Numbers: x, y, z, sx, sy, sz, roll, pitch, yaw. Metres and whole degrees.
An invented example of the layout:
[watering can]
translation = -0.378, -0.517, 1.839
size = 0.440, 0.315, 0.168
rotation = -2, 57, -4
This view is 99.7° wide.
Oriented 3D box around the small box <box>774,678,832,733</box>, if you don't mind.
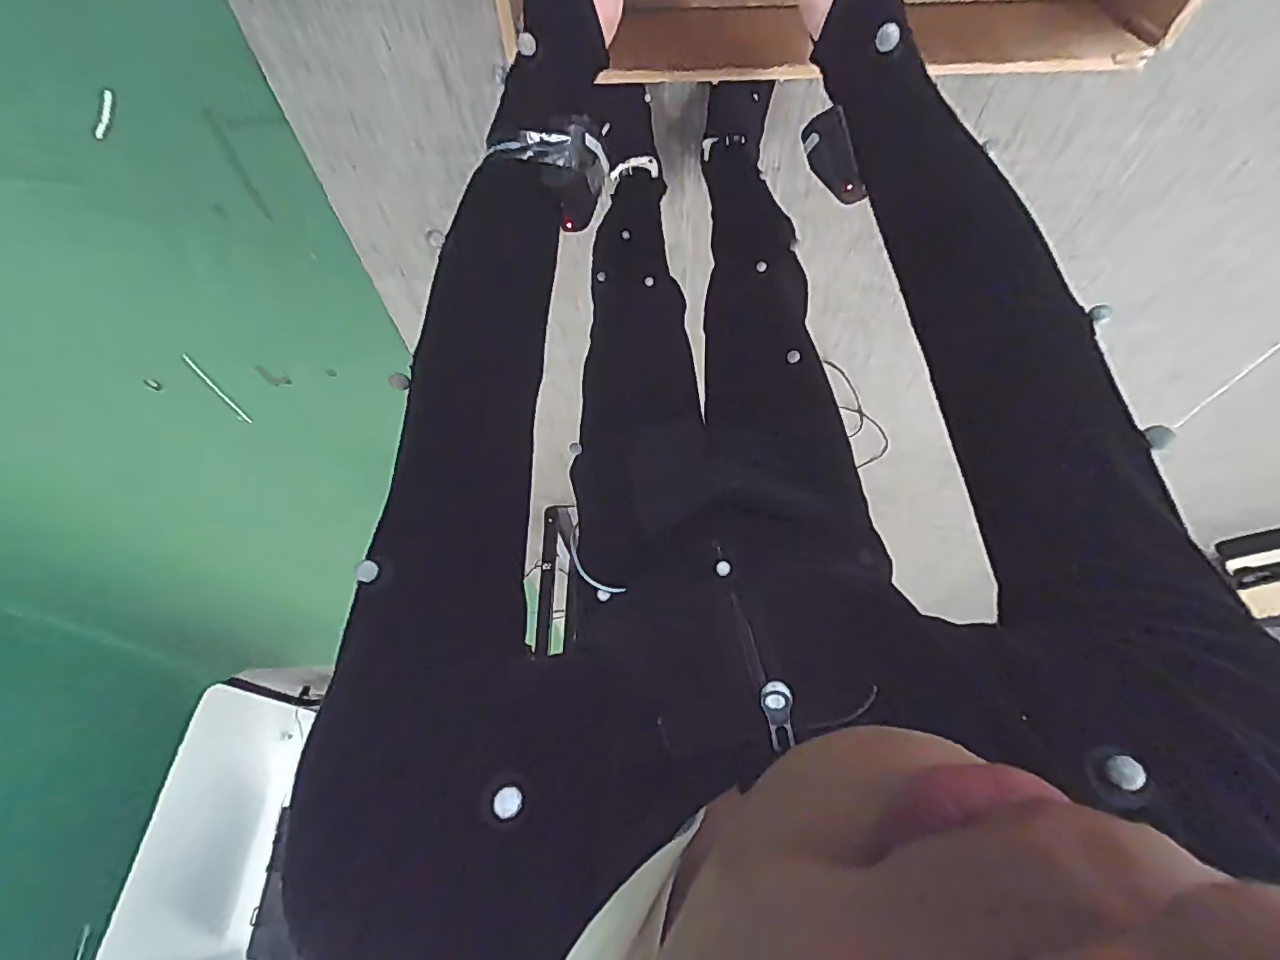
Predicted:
[small box]
translation = 0.604, 0.846, 2.022
size = 0.168, 0.176, 0.179
rotation = -4, 148, 3
